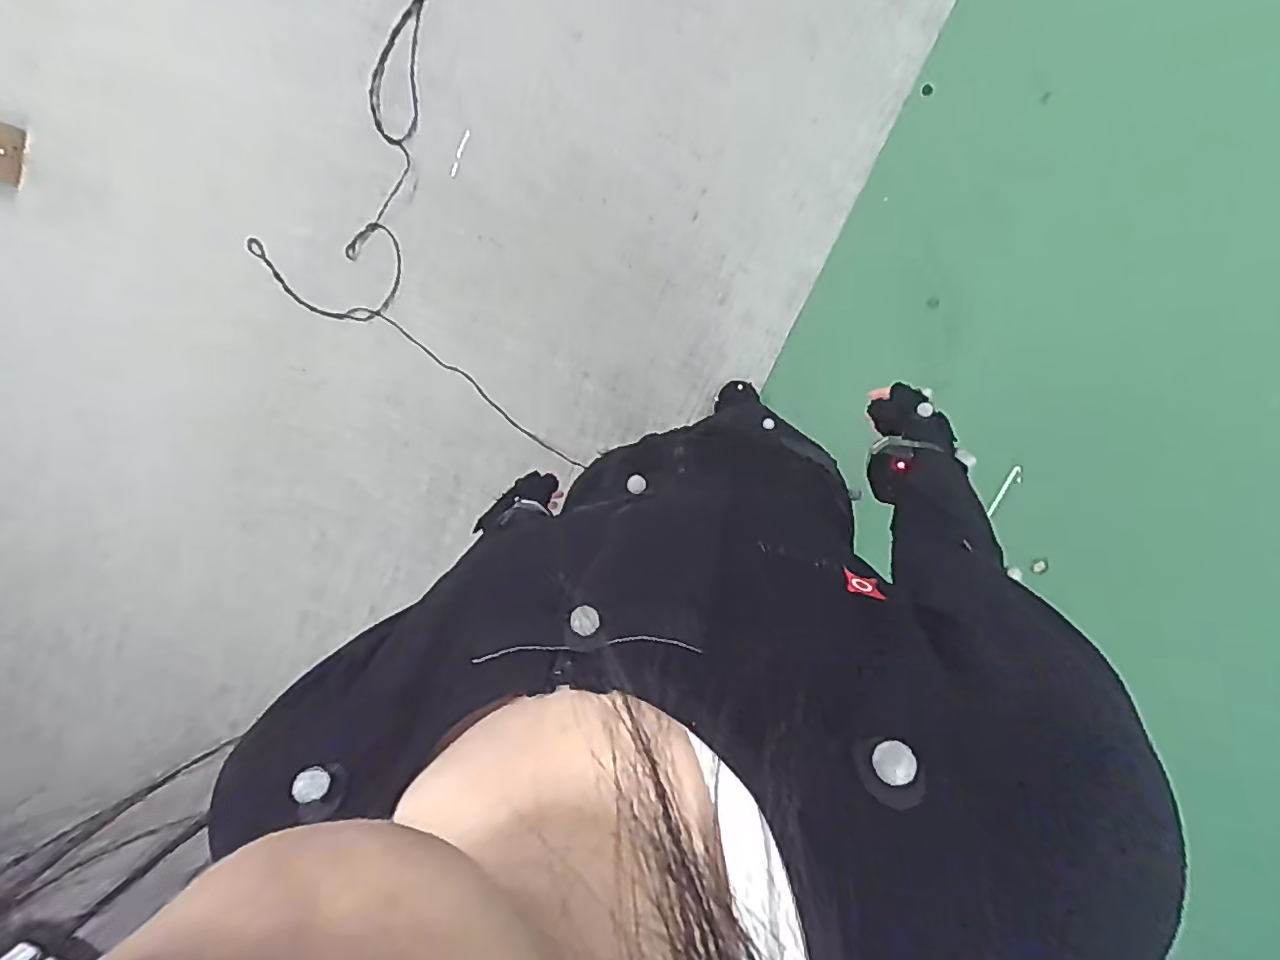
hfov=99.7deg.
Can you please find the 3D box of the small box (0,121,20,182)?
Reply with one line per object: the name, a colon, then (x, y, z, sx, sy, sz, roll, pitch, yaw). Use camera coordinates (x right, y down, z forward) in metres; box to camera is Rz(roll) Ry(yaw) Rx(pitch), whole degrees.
small box: (-1.946, -0.980, 1.534, 0.179, 0.176, 0.168, 23, 102, 4)
